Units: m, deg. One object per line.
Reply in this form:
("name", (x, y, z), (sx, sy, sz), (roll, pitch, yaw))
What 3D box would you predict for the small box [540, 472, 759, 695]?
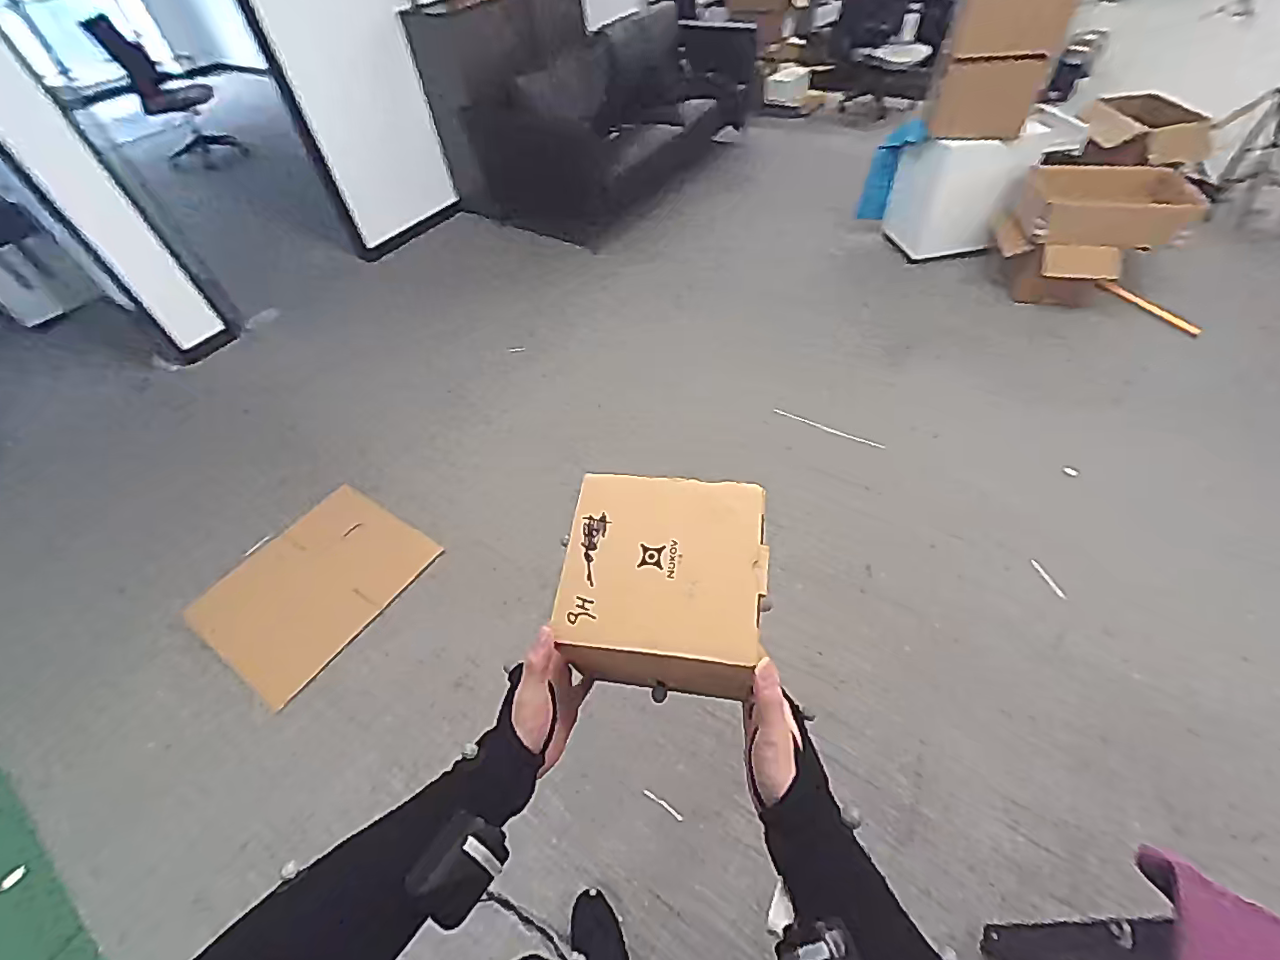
("small box", (0.020, 0.111, 0.545), (0.179, 0.176, 0.168), (5, 59, 8))
